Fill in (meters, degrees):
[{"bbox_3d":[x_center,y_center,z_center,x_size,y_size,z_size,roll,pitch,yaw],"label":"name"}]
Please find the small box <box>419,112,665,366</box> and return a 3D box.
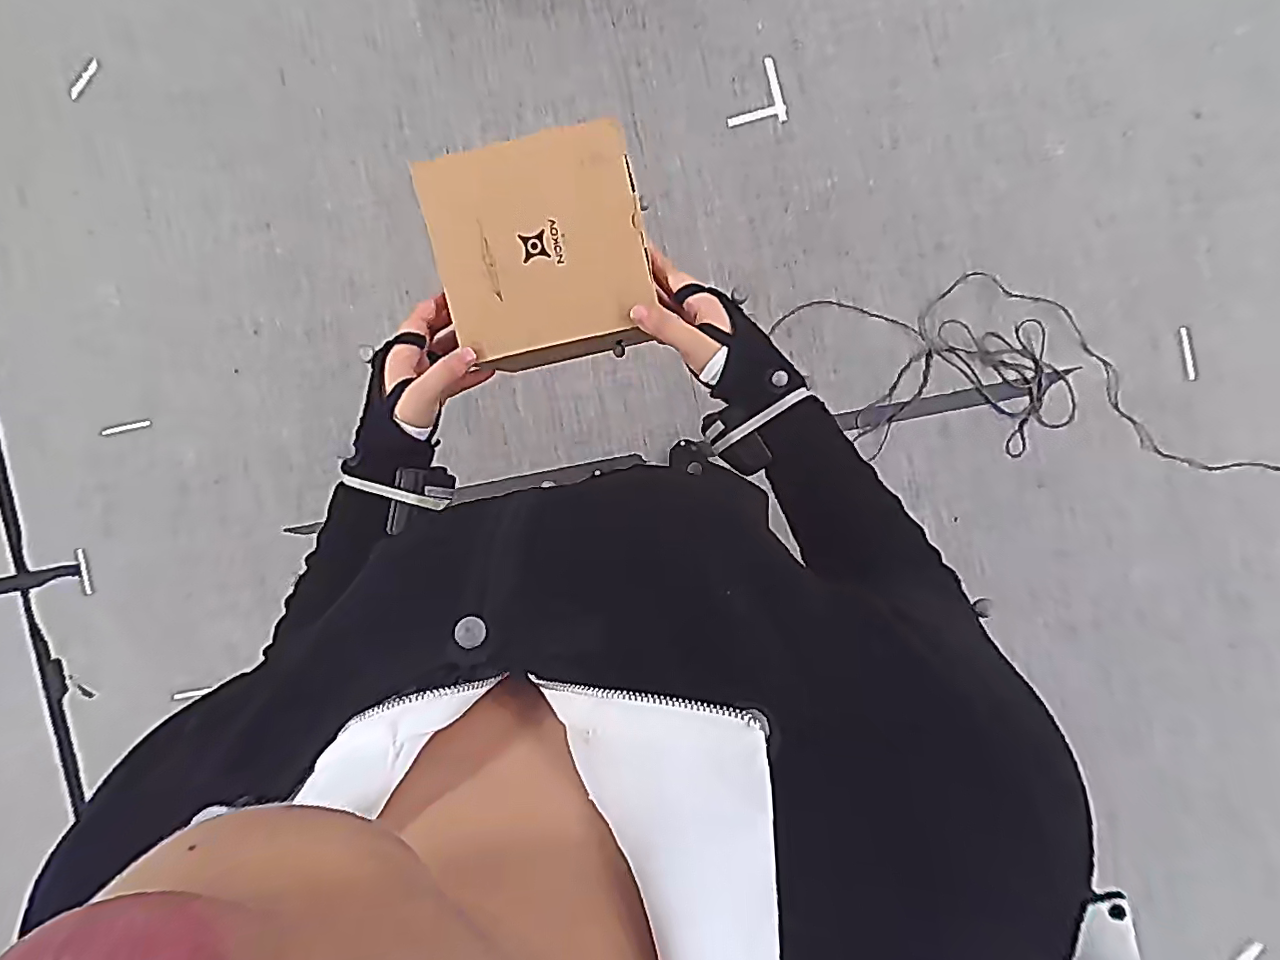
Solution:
[{"bbox_3d":[-0.080,-0.213,0.530,0.179,0.176,0.168,-13,98,3],"label":"small box"}]
